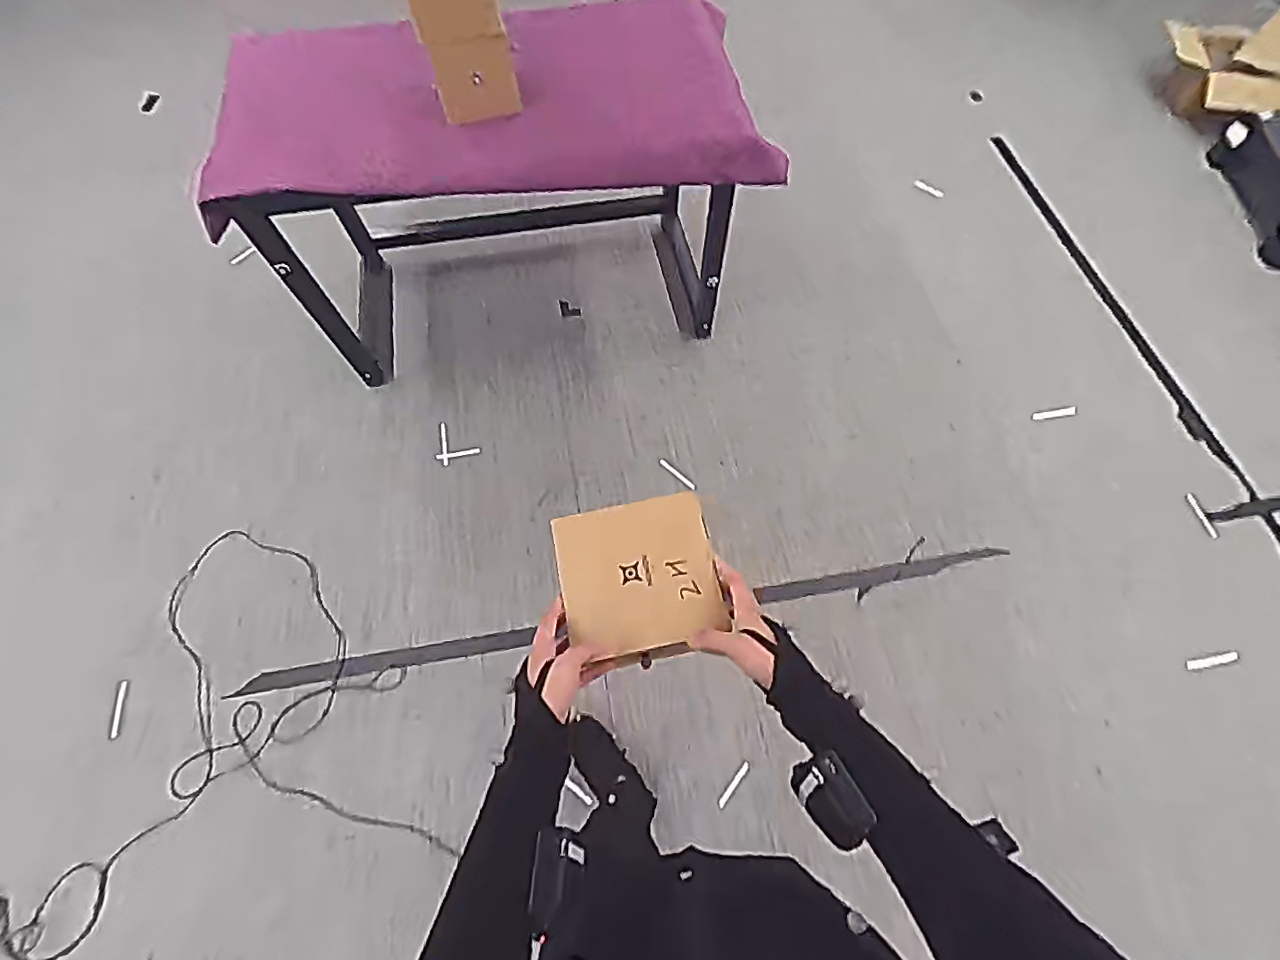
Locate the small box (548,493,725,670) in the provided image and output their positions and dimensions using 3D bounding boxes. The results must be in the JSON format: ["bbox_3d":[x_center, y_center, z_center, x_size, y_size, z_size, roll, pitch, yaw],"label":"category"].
[{"bbox_3d":[-0.006,0.134,0.674,0.179,0.176,0.168,-11,68,-4],"label":"small box"}]

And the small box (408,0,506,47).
[{"bbox_3d":[-0.377,-0.996,1.070,0.179,0.176,0.168,-12,66,-6],"label":"small box"}]
